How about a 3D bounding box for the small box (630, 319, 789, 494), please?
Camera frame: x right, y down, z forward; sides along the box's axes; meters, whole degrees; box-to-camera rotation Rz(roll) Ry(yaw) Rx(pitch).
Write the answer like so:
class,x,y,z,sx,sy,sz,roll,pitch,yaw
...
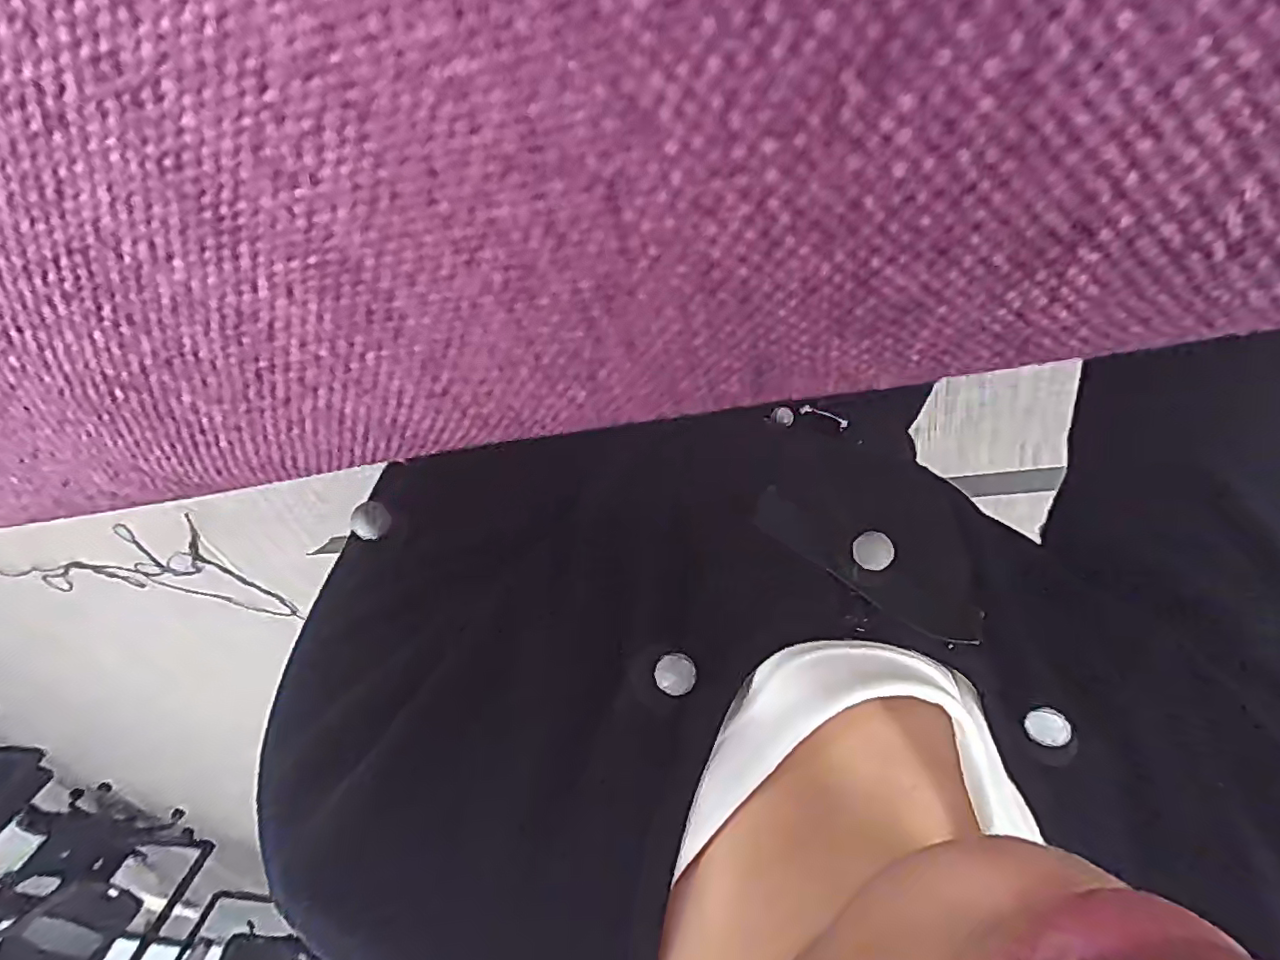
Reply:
class,x,y,z,sx,sy,sz,roll,pitch,yaw
small box,0.085,-0.103,0.714,0.179,0.168,0.176,5,130,4
